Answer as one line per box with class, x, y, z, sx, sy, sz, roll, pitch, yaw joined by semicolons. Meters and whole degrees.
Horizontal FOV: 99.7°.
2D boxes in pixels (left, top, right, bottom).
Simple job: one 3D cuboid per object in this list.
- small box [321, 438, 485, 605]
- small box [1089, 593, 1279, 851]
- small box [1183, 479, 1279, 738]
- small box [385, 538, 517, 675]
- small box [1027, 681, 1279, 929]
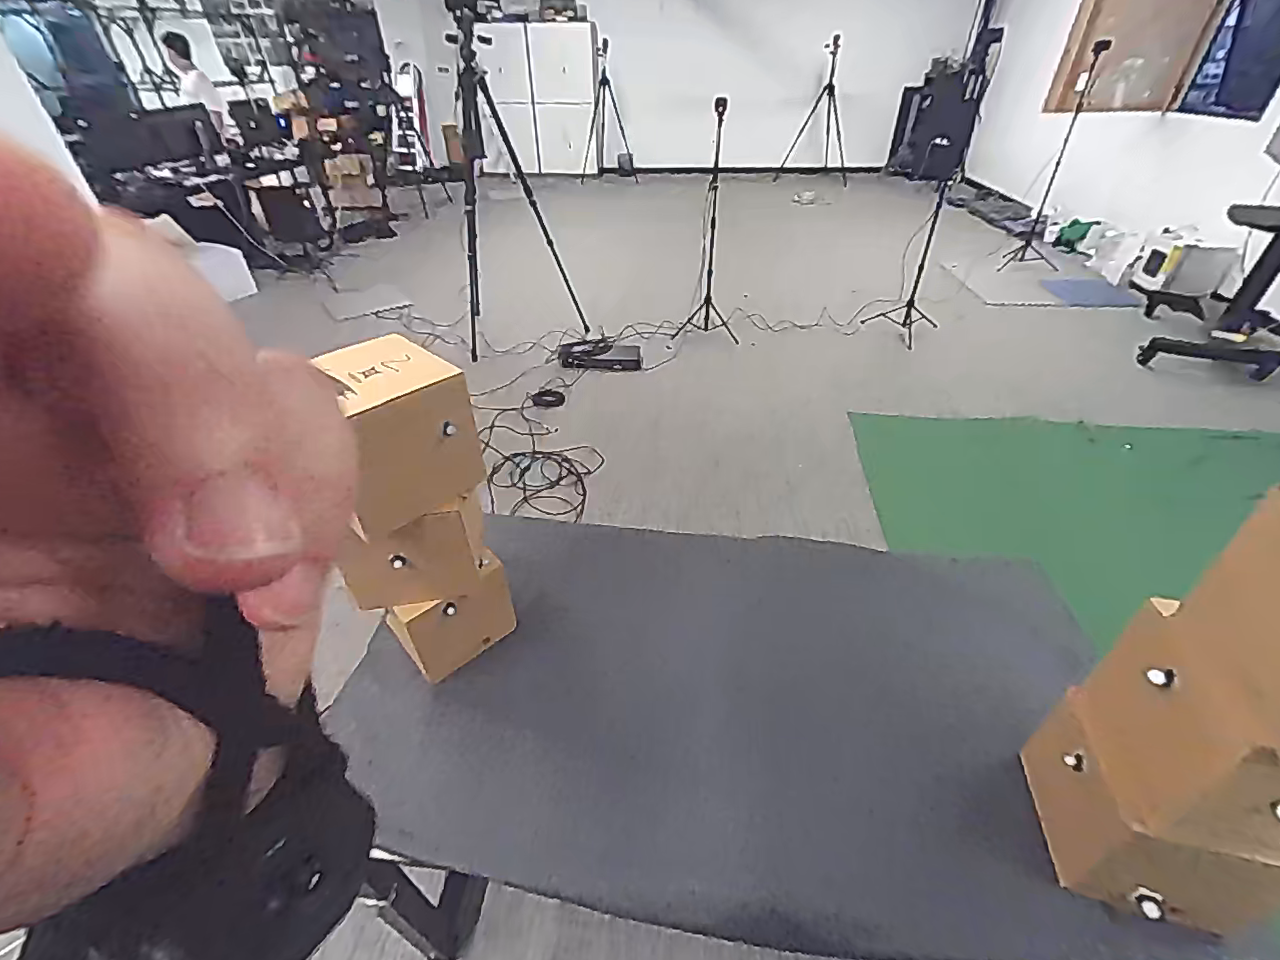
small box;-0.331;0.061;0.801;0.179;0.176;0.168;-9;40;-8
small box;0.606;0.244;0.540;0.168;0.176;0.179;7;35;12
small box;0.606;0.123;0.426;0.168;0.176;0.179;7;35;12
small box;-0.328;0.187;0.907;0.168;0.176;0.179;-31;48;-32
small box;0.595;0.375;0.635;0.168;0.176;0.179;7;37;13
